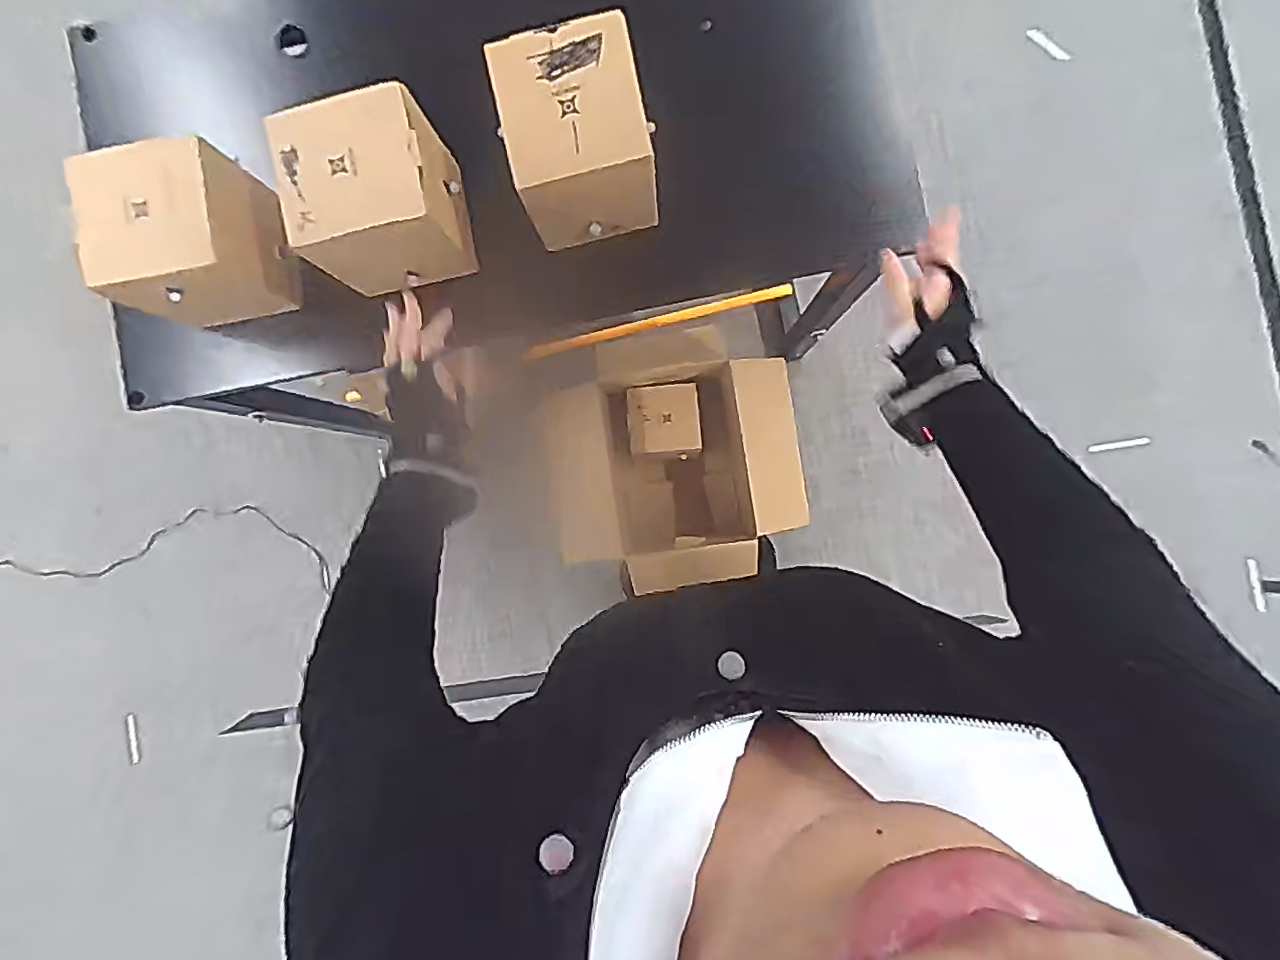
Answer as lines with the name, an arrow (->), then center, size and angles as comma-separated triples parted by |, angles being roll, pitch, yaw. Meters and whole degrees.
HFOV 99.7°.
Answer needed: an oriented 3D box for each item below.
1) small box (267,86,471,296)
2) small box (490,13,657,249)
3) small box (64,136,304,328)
small box -> -0.338, -0.365, 0.714 | 0.179, 0.176, 0.168 | -12, 88, 2
small box -> -0.074, -0.432, 0.698 | 0.168, 0.176, 0.179 | -12, 89, 3
small box -> -0.597, -0.317, 0.727 | 0.179, 0.176, 0.168 | -9, 89, 2
